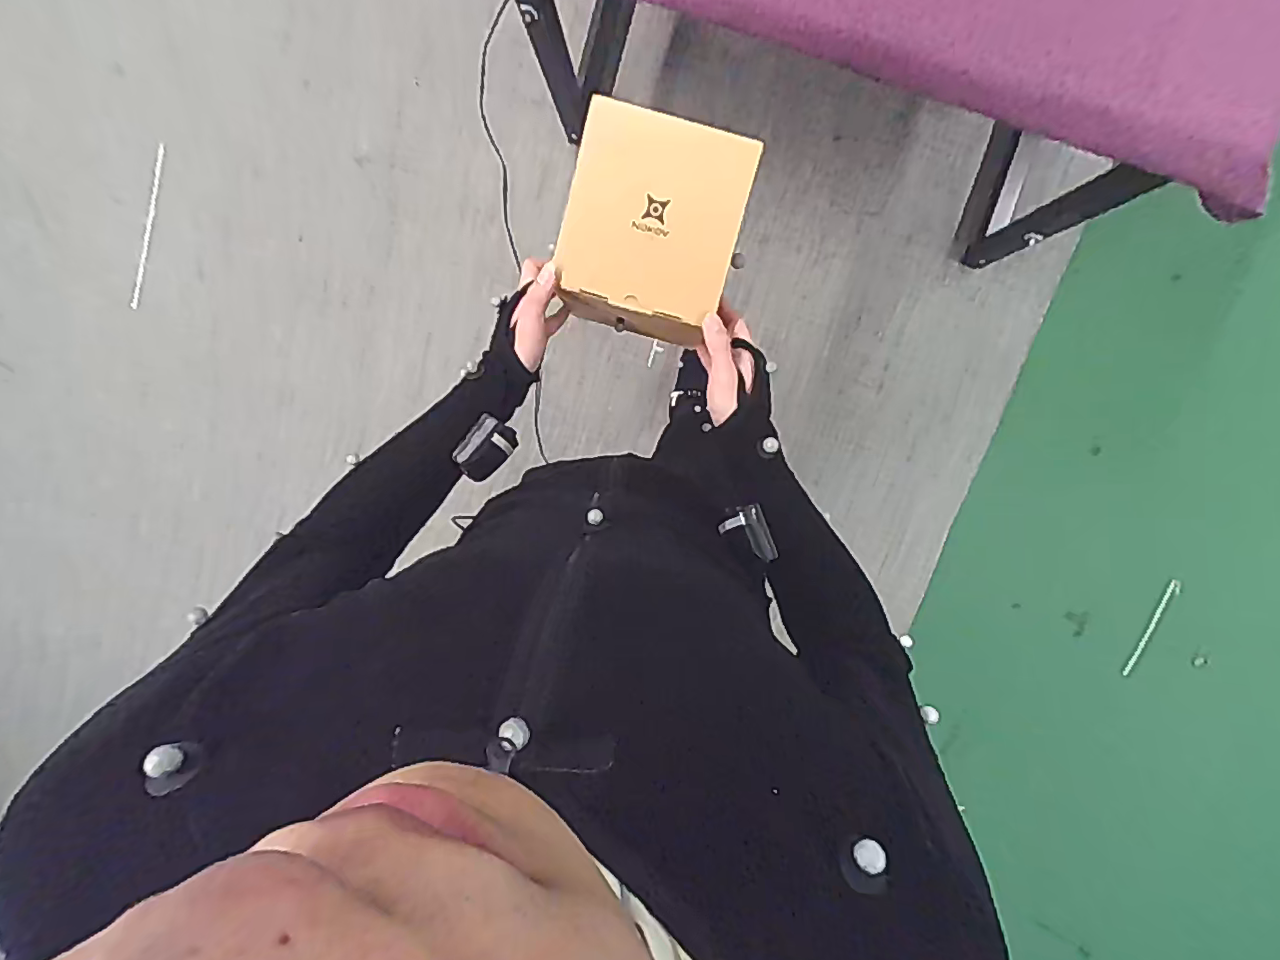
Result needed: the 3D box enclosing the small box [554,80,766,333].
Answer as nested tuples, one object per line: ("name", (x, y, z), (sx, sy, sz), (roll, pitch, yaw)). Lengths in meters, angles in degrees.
("small box", (0.016, -0.272, 0.584), (0.168, 0.176, 0.179), (15, 99, -3))
